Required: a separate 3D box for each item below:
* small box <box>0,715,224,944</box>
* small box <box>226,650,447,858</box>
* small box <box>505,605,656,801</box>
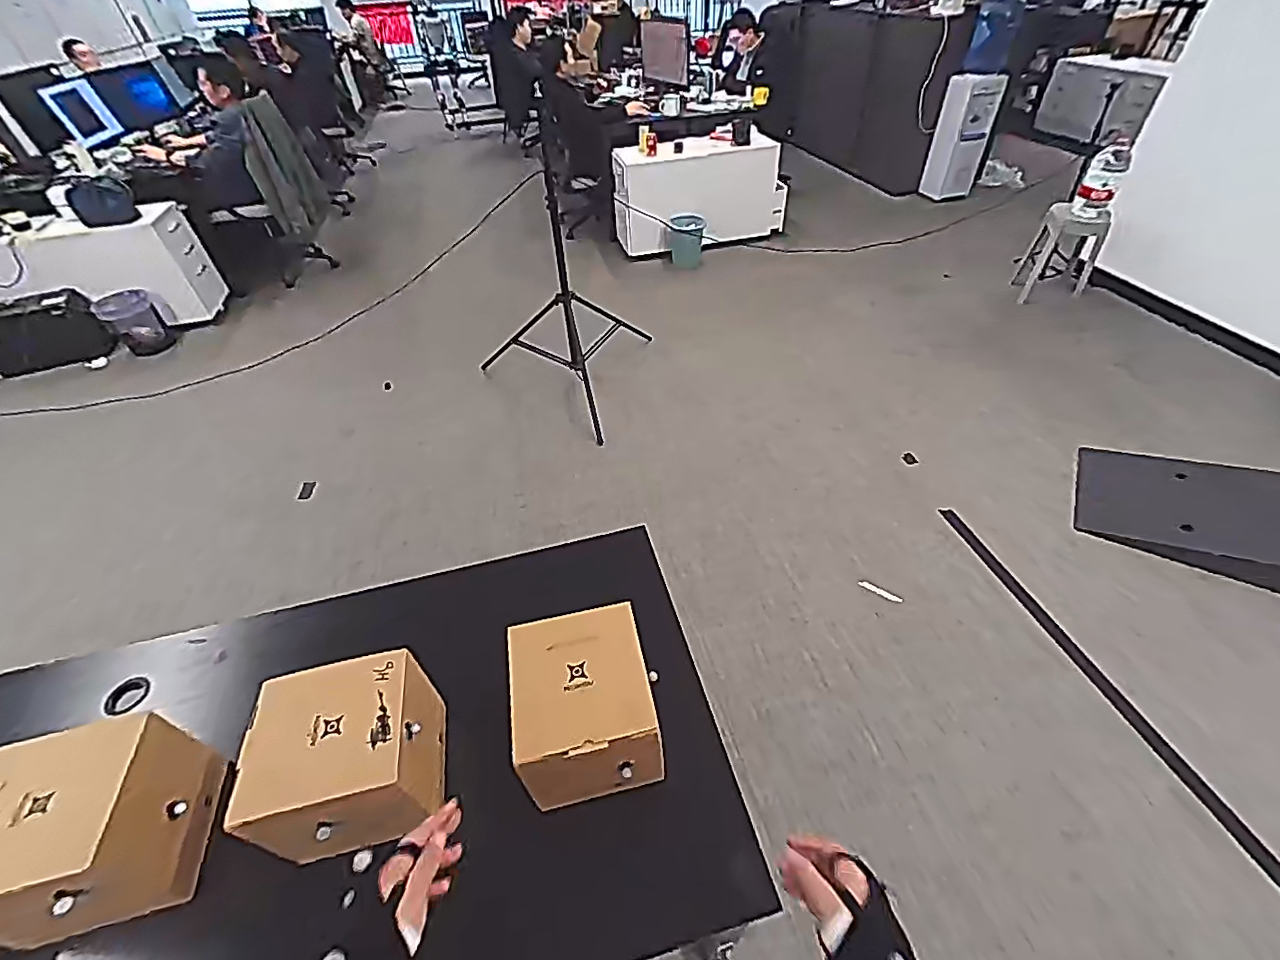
[{"bbox_3d":[-0.643,0.409,0.636,0.179,0.176,0.168,-13,44,-10],"label":"small box"},{"bbox_3d":[-0.361,0.347,0.683,0.179,0.176,0.168,-12,45,-7],"label":"small box"},{"bbox_3d":[-0.076,0.298,0.714,0.168,0.176,0.179,-11,43,-7],"label":"small box"}]
